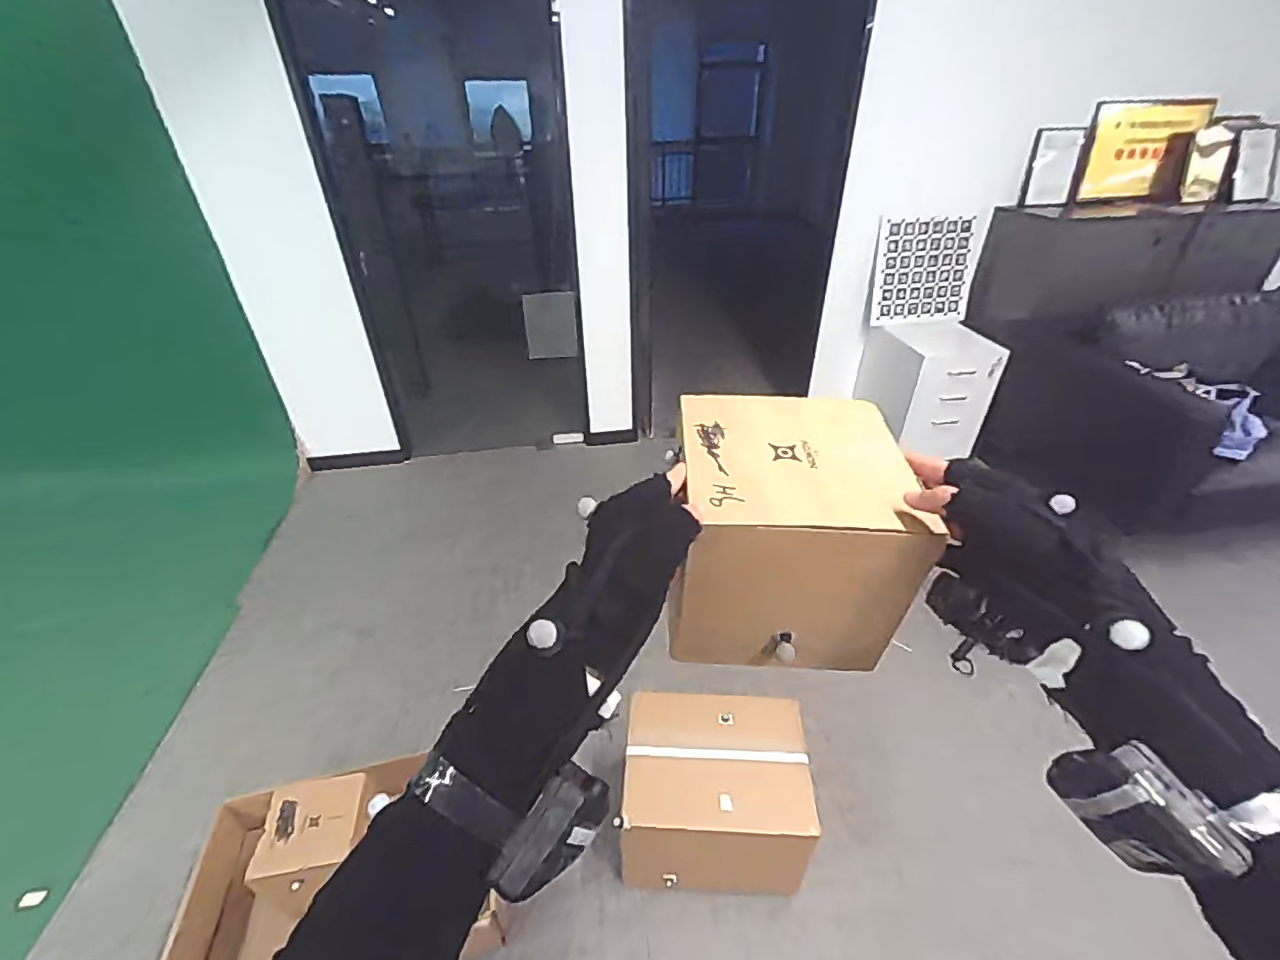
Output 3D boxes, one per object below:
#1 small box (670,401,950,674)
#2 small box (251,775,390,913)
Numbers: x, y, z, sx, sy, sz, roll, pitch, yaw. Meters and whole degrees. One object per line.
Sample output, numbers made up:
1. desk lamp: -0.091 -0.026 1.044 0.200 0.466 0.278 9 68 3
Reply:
1. small box: 0.123 0.050 0.473 0.179 0.176 0.168 4 38 0
2. small box: -0.628 0.733 1.090 0.179 0.176 0.168 -6 35 -9
